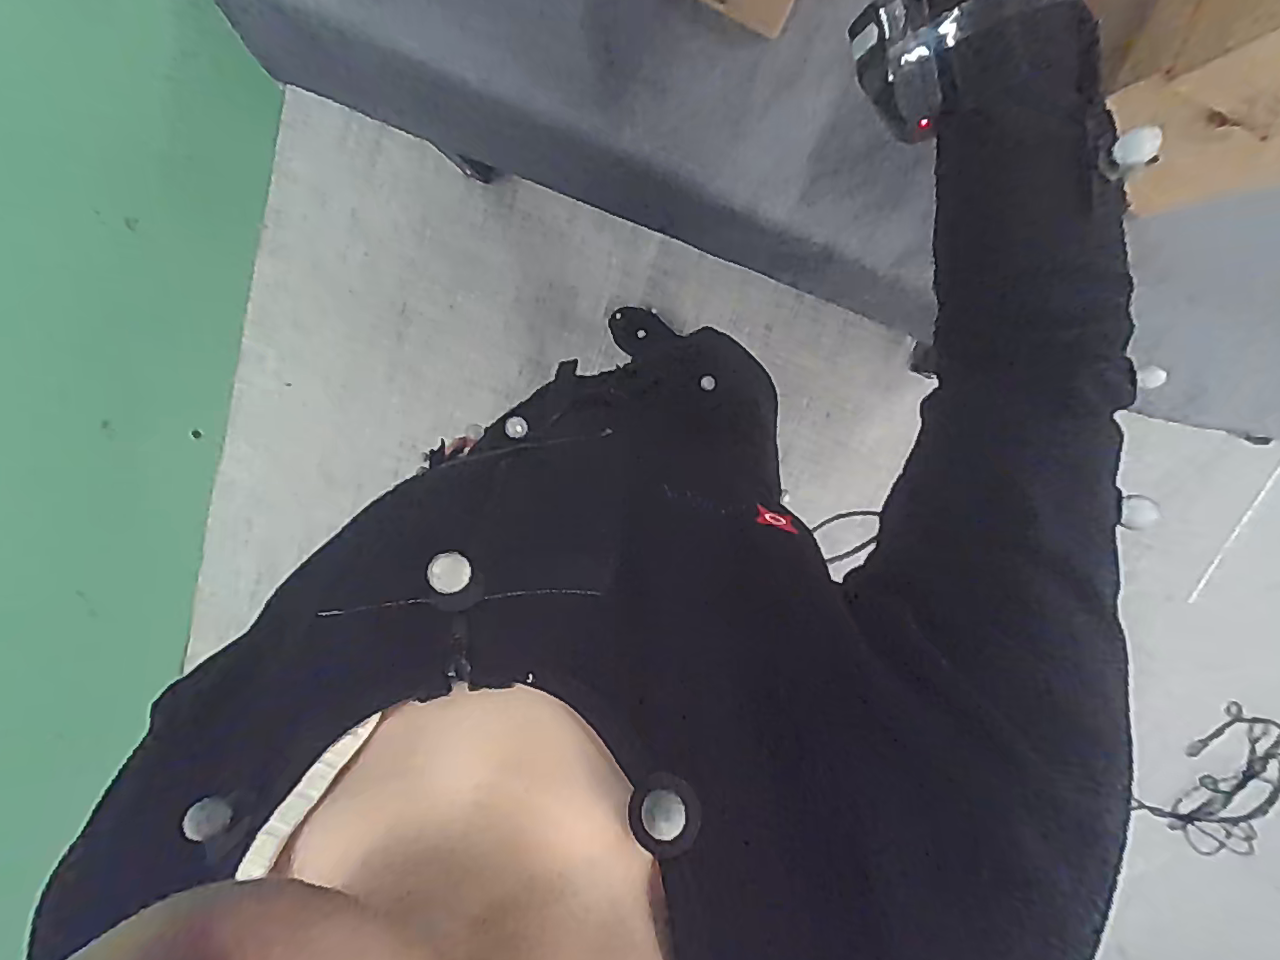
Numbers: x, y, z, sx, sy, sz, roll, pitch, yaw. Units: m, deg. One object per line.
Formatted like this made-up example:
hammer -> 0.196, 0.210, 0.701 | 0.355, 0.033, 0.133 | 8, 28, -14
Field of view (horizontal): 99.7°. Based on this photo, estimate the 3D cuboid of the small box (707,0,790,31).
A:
small box -> 0.084, -0.500, 0.406 | 0.168, 0.176, 0.179 | 24, 102, -6

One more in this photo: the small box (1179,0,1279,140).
small box -> 0.465, -0.304, 0.289 | 0.168, 0.176, 0.179 | 21, 103, -6
